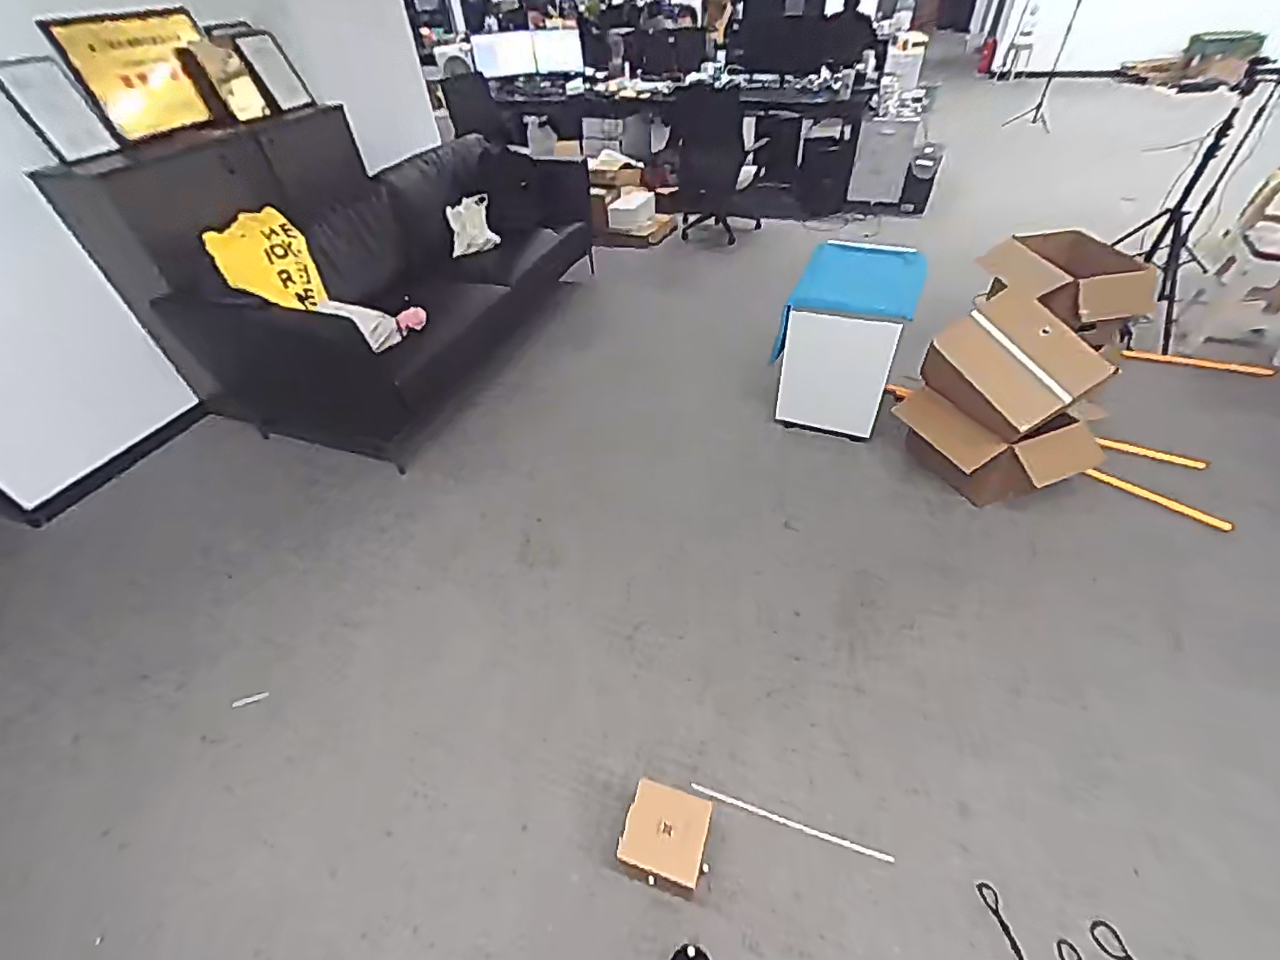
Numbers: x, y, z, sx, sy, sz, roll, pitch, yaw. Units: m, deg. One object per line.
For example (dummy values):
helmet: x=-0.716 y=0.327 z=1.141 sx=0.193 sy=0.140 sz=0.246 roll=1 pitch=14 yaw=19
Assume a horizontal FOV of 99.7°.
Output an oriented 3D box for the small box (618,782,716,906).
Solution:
small box: x=0.066 y=0.820 z=1.215 sx=0.179 sy=0.176 sz=0.168 roll=11 pitch=46 yaw=17
